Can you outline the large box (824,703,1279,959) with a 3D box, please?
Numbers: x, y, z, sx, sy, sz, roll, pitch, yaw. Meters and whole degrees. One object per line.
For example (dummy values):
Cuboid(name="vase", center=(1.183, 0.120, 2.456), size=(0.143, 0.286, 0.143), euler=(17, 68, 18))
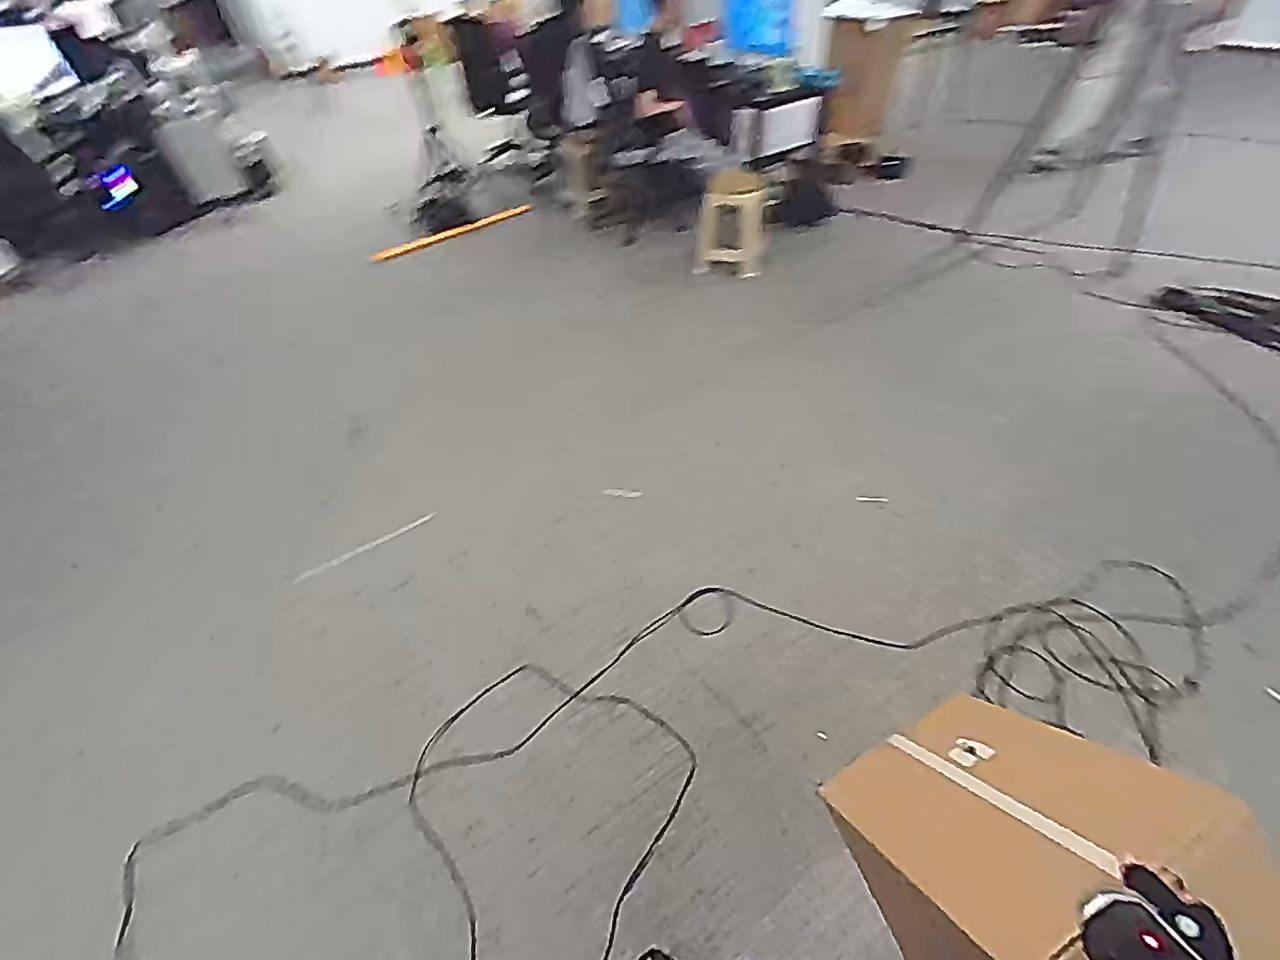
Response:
Cuboid(name="large box", center=(0.536, 0.567, 0.726), size=(0.320, 0.408, 0.320), euler=(-25, 87, -10))
